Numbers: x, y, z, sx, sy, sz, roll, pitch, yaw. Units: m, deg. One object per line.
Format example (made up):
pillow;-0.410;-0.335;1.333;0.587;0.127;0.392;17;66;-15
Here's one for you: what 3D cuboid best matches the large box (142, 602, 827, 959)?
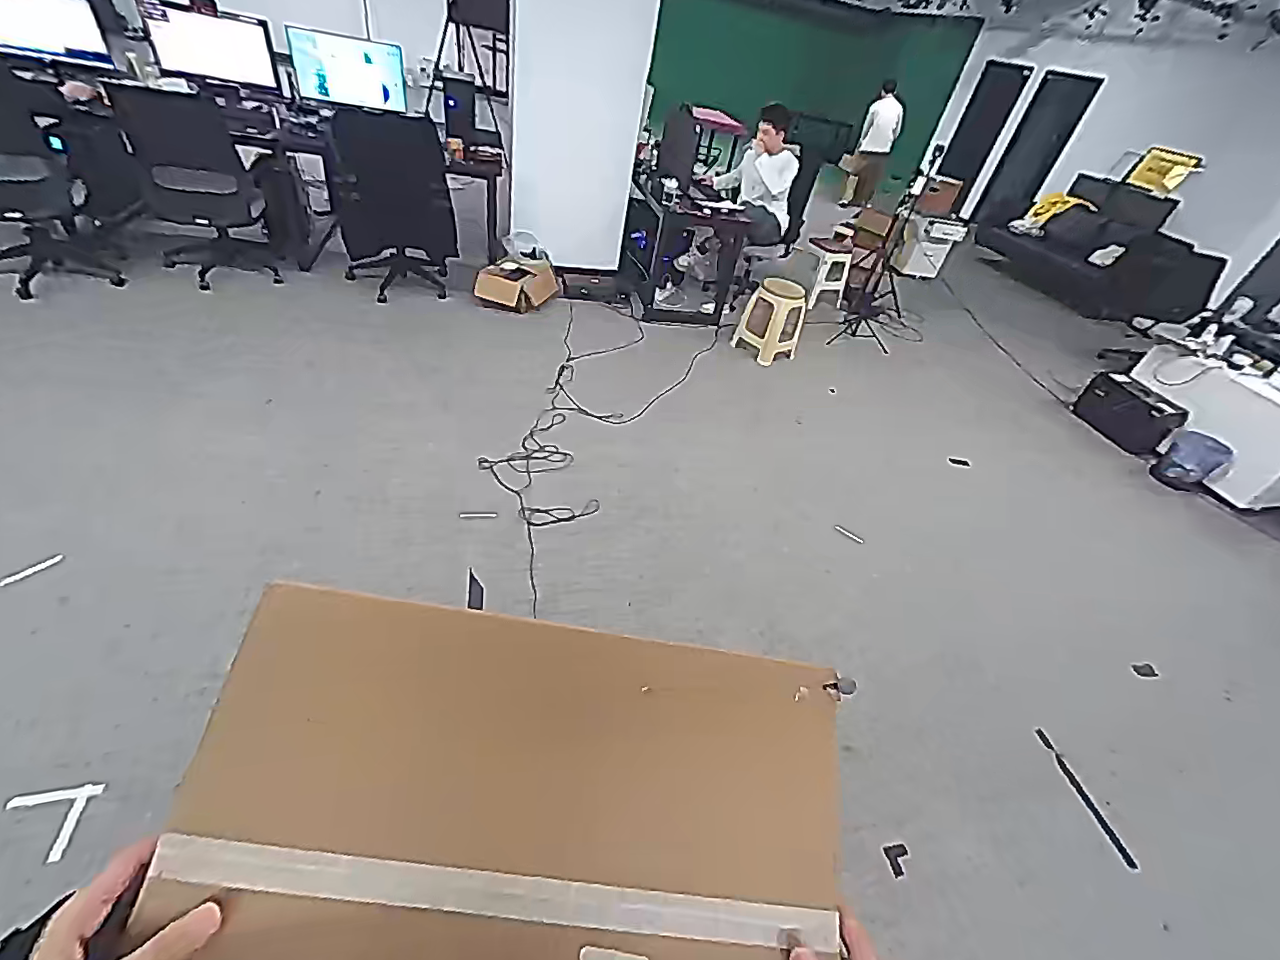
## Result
large box;-0.098;0.310;0.470;0.408;0.320;0.320;10;68;-5
